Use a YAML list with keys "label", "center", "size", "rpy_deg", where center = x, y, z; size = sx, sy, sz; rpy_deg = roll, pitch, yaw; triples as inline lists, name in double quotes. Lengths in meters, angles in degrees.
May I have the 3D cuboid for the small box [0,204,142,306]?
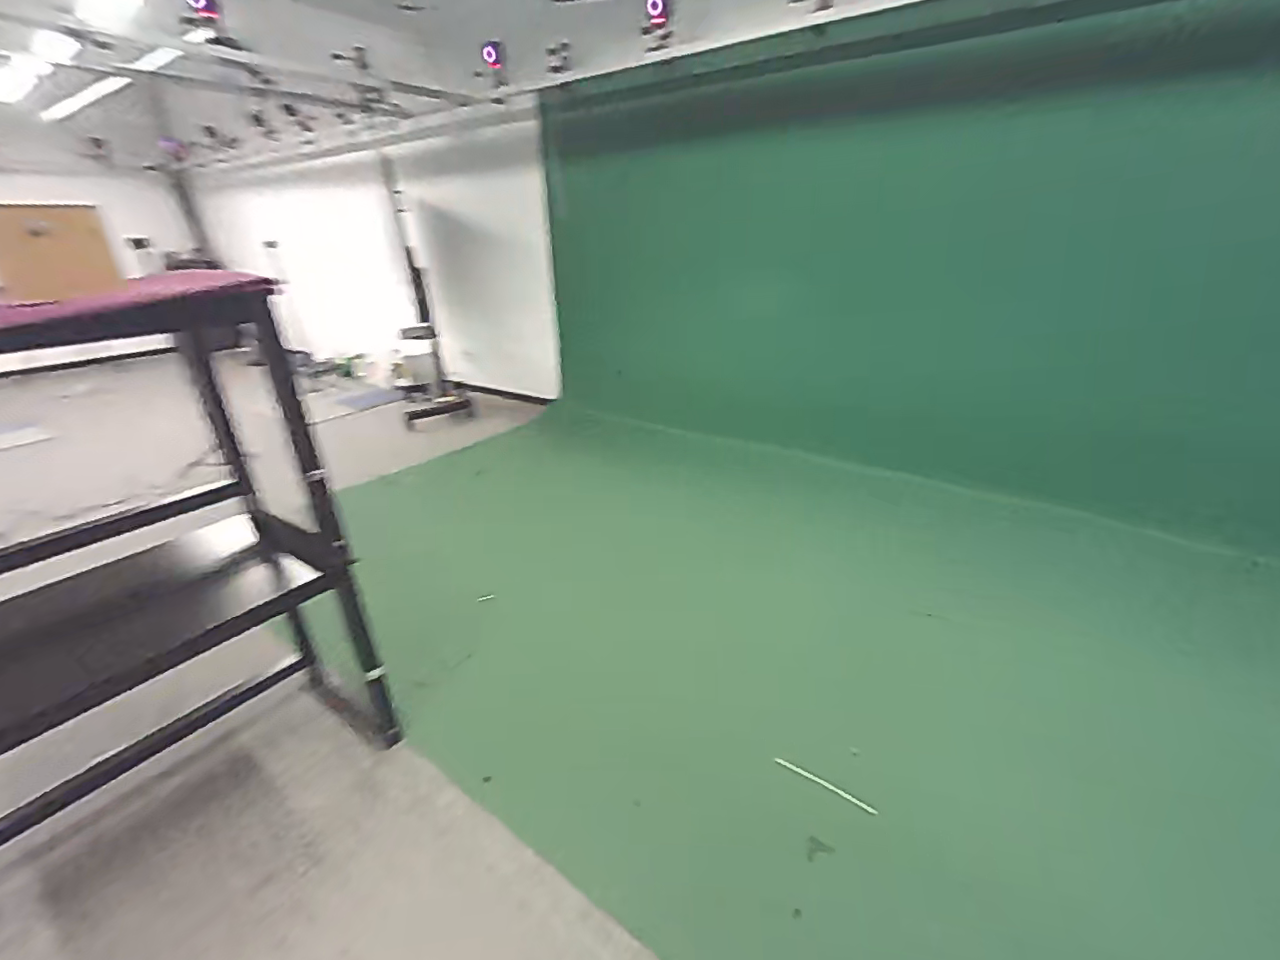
- label: "small box"
  center: [-1.137, -0.436, 1.058]
  size: [0.168, 0.176, 0.179]
  rpy_deg: [14, 29, 35]
